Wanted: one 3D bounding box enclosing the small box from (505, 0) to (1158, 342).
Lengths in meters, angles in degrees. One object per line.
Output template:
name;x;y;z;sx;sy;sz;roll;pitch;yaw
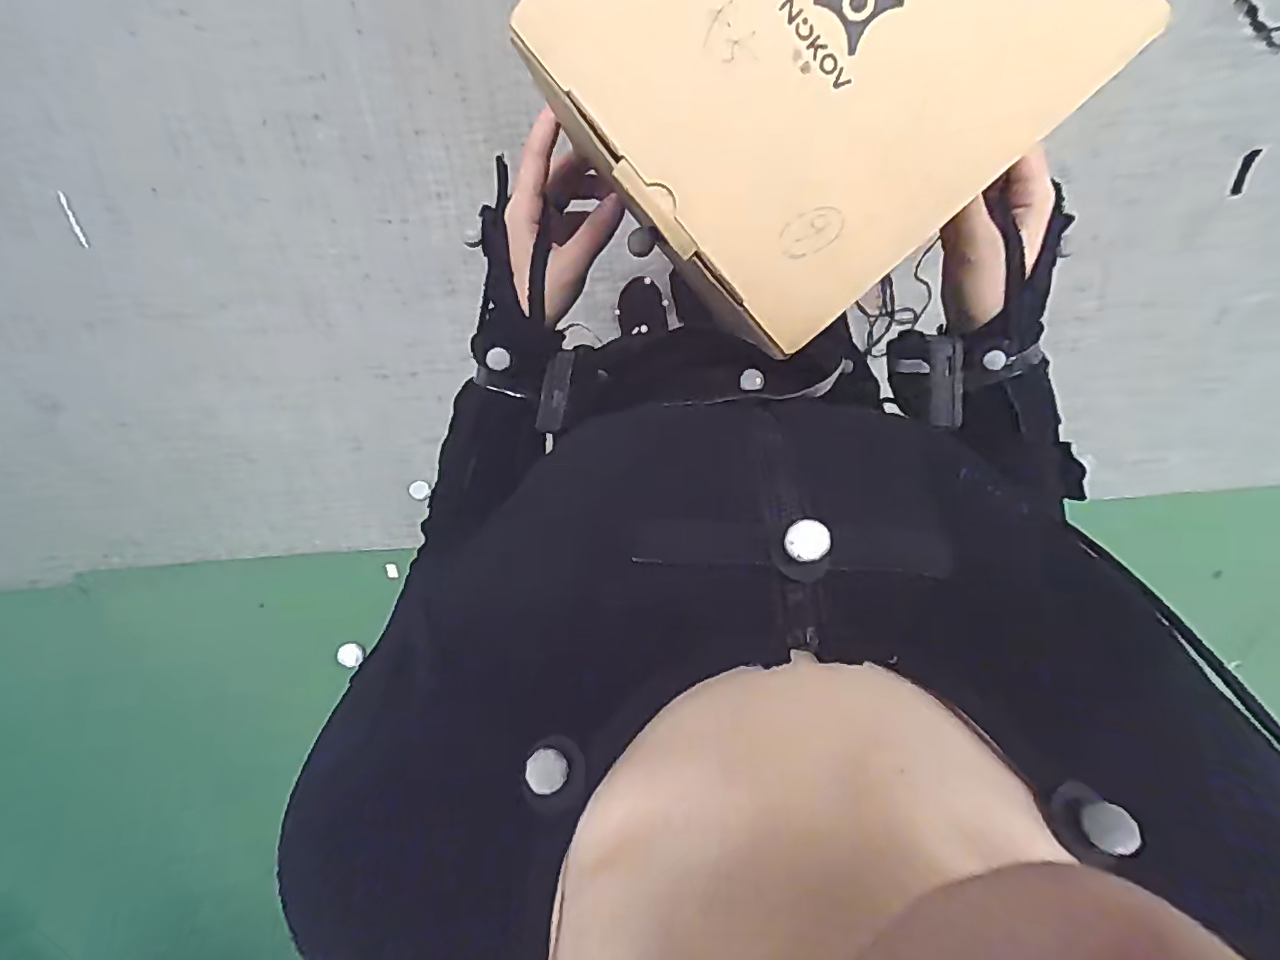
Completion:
small box;0.069;-0.194;0.269;0.179;0.176;0.168;-41;103;15
